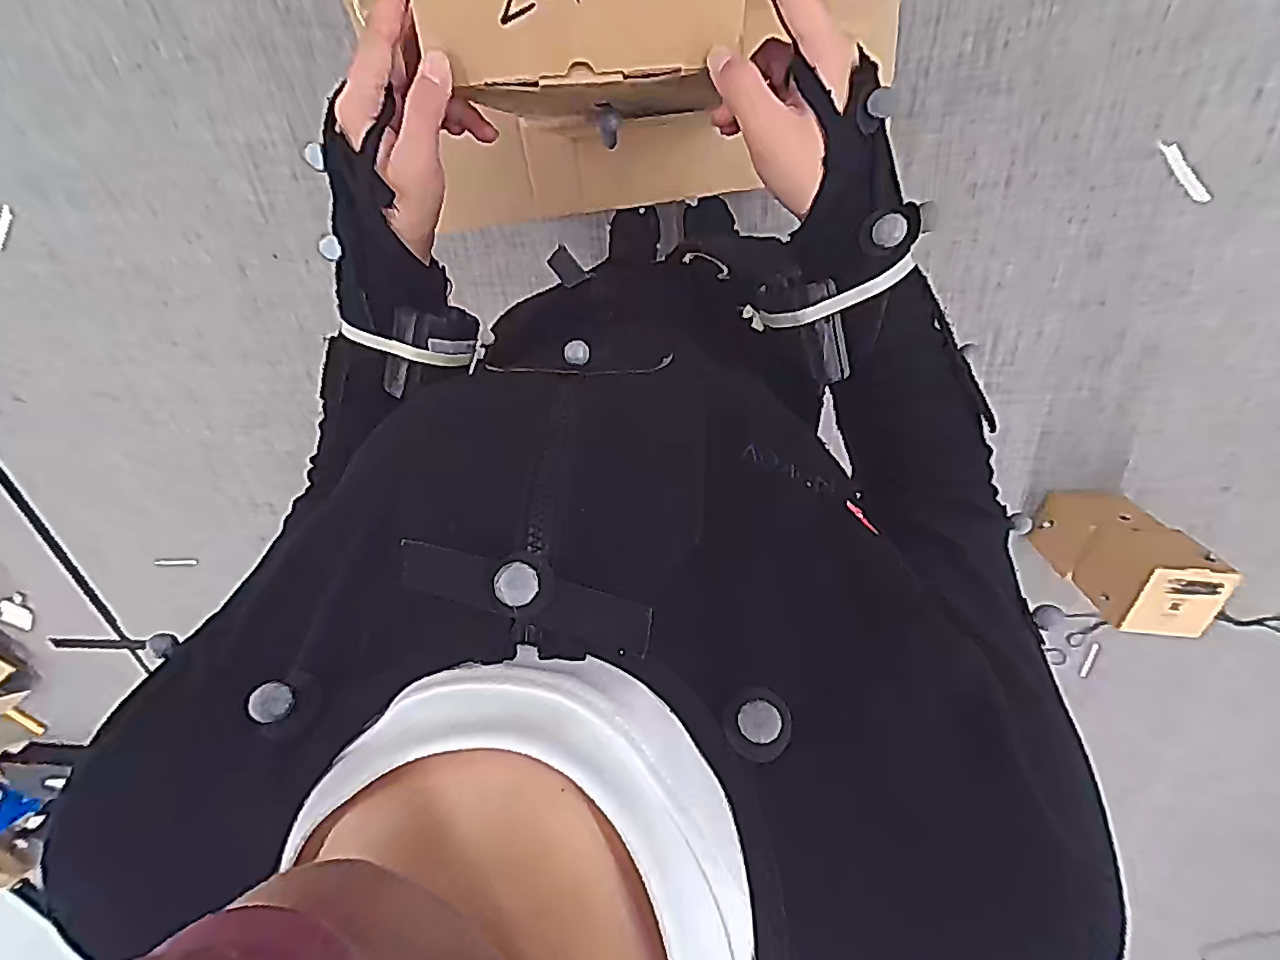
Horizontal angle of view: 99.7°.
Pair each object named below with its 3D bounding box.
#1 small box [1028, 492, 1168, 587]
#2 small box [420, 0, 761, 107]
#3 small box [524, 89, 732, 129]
[{"bbox_3d":[1.123,0.143,1.344,0.179,0.176,0.168,5,118,4],"label":"small box"},{"bbox_3d":[-0.019,-0.323,0.296,0.168,0.176,0.179,1,119,6],"label":"small box"},{"bbox_3d":[-0.007,-0.399,0.444,0.168,0.176,0.179,-1,118,7],"label":"small box"}]
